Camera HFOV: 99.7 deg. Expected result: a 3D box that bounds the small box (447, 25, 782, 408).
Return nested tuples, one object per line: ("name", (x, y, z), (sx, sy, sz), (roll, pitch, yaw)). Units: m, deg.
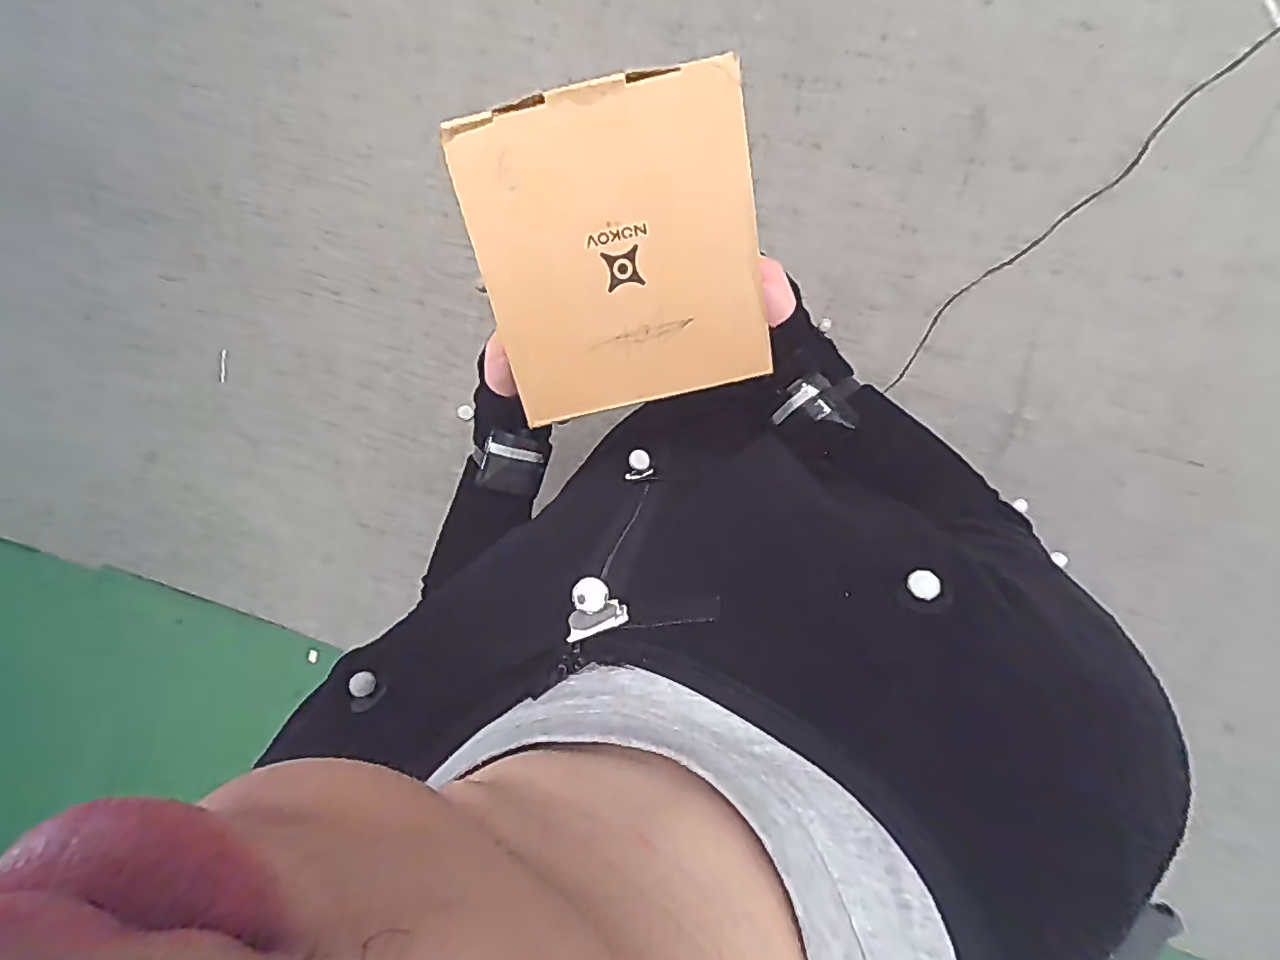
("small box", (-0.011, -0.172, 0.385), (0.168, 0.176, 0.179), (-13, 115, 2))
